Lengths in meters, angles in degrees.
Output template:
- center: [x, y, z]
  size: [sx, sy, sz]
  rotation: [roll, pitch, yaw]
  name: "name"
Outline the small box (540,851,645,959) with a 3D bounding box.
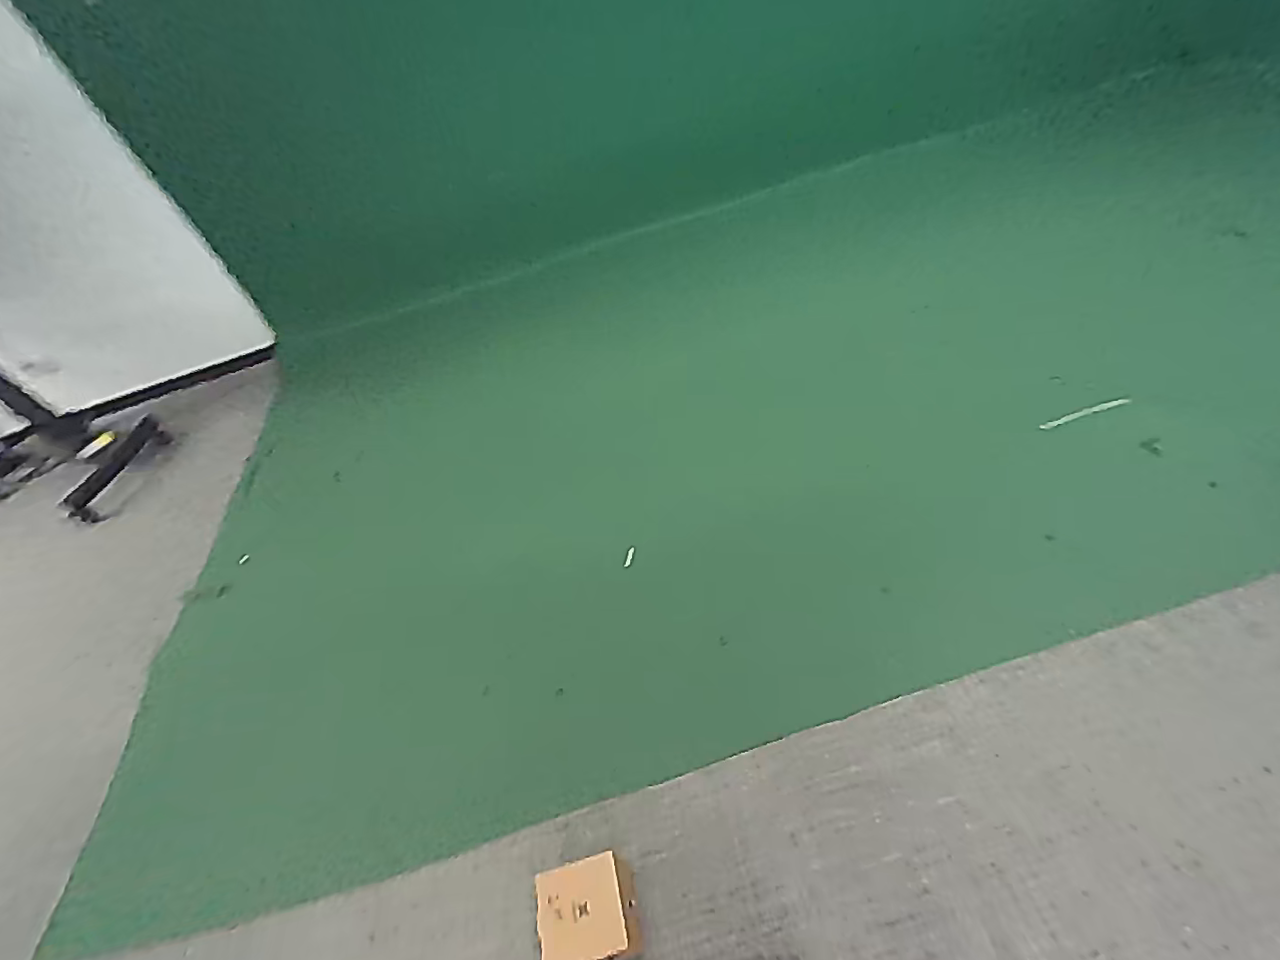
- center: [-0.095, 0.913, 1.140]
  size: [0.179, 0.176, 0.168]
  rotation: [-18, 46, -1]
  name: "small box"
